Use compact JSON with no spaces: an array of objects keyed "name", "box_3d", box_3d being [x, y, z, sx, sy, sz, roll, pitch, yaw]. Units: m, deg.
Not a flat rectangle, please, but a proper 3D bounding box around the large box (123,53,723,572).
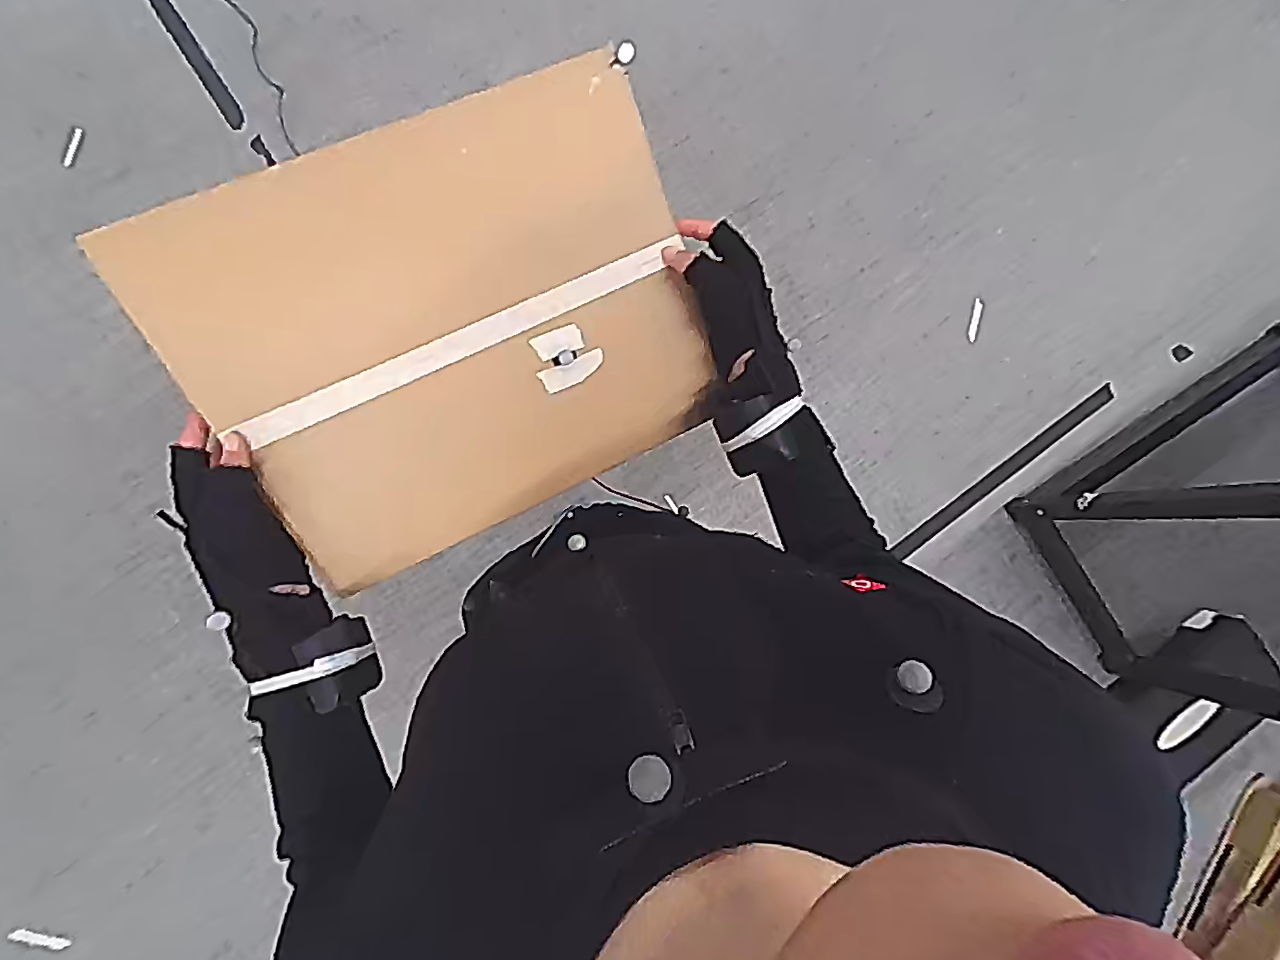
[{"name":"large box","box_3d":[-0.186,-0.169,0.603,0.408,0.320,0.320,-26,112,-9]}]
